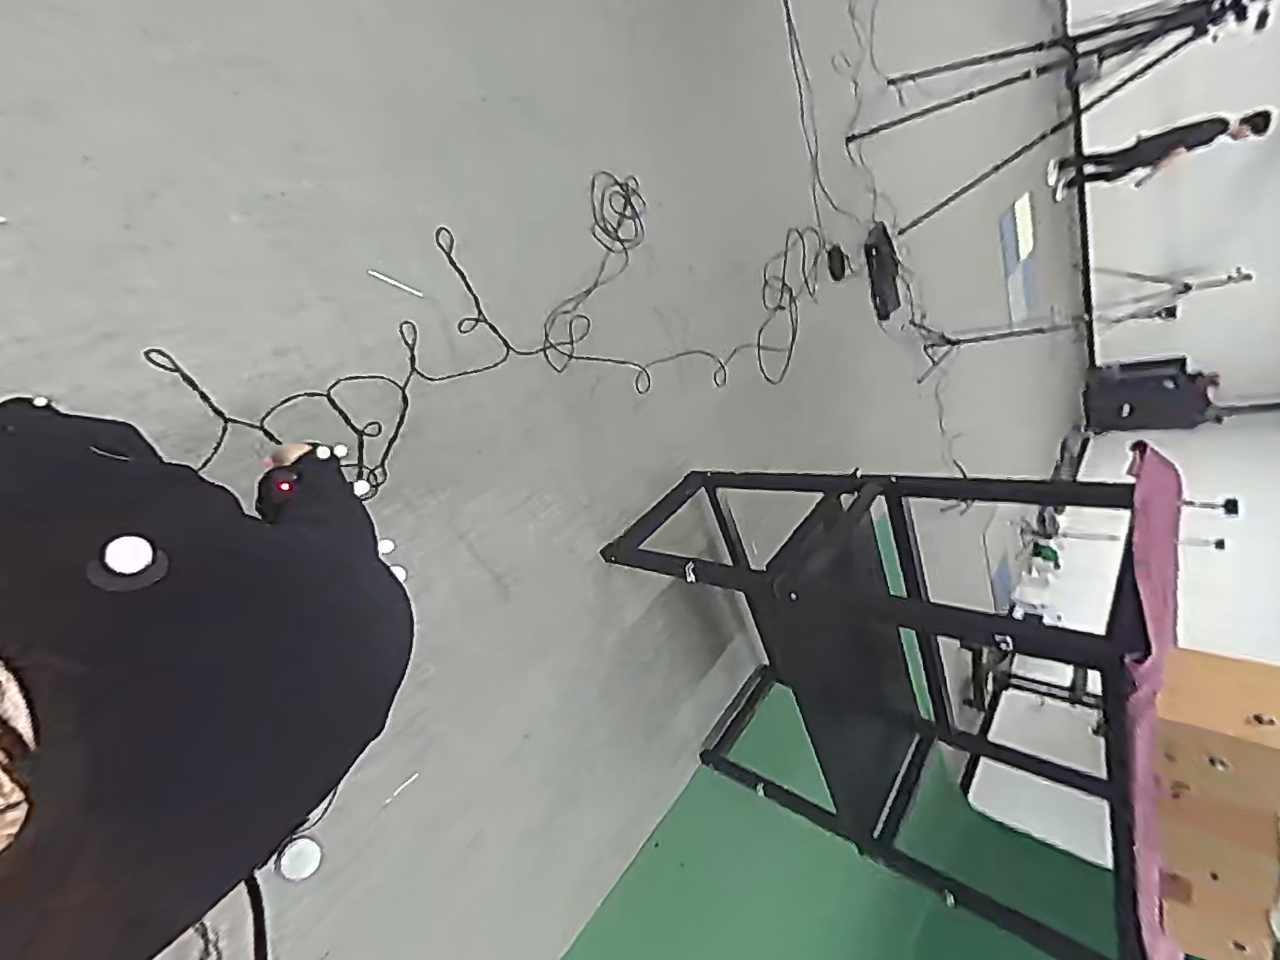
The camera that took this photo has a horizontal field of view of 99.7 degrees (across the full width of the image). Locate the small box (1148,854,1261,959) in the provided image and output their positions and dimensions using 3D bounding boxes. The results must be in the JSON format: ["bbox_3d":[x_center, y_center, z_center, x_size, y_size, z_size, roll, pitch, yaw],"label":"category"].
[{"bbox_3d":[1.286,0.952,1.241,0.168,0.176,0.179,-39,117,-38],"label":"small box"}]

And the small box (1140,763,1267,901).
[{"bbox_3d":[1.149,0.692,1.106,0.168,0.176,0.179,-42,118,-35],"label":"small box"}]

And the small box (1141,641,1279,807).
[{"bbox_3d":[1.007,0.419,0.956,0.179,0.176,0.168,-42,120,-34],"label":"small box"}]
